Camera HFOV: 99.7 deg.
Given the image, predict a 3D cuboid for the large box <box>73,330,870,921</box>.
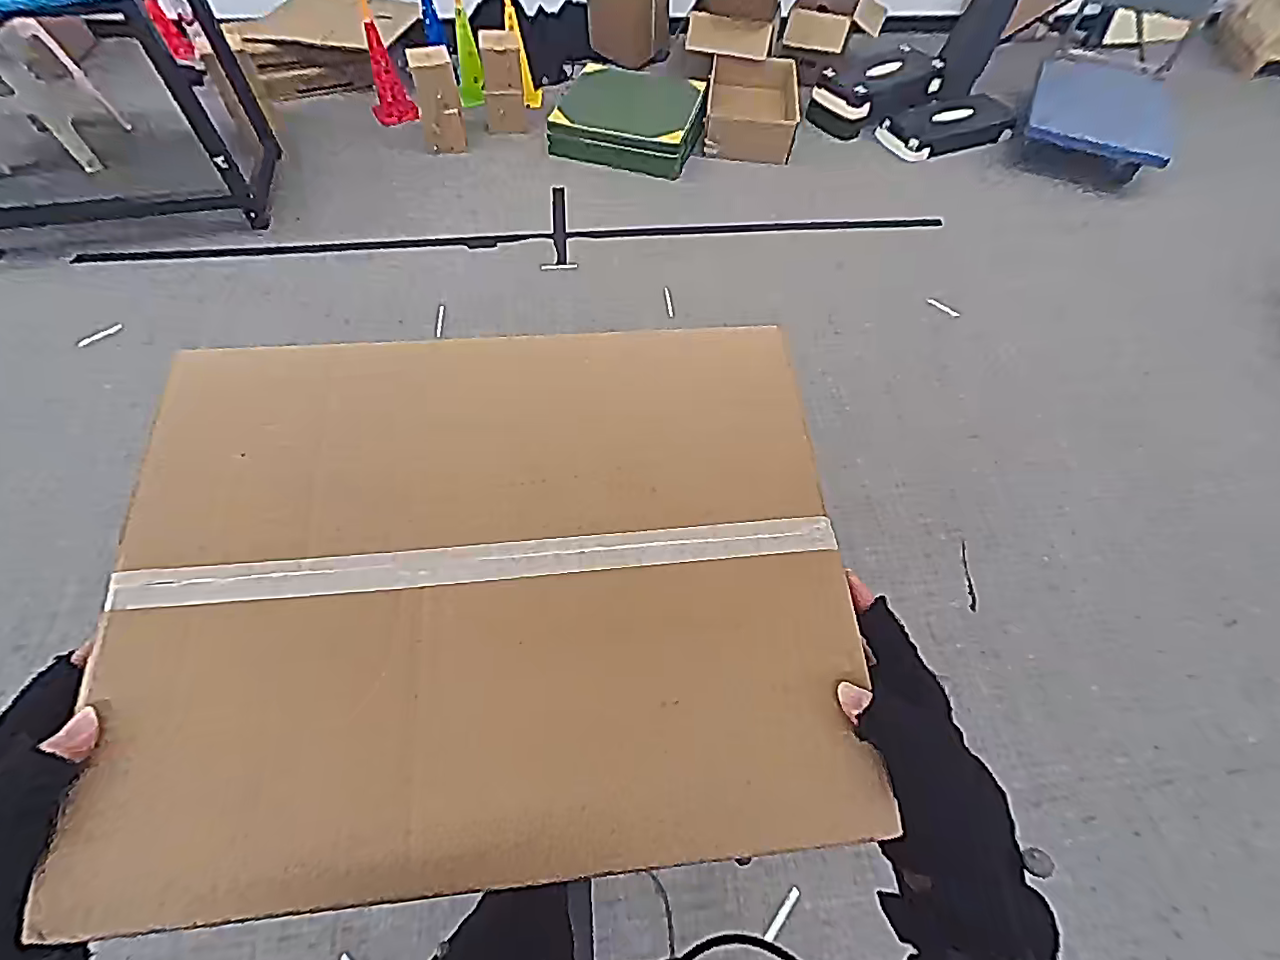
[{"bbox_3d":[-0.093,0.102,0.461,0.408,0.320,0.320,-4,68,-4],"label":"large box"}]
